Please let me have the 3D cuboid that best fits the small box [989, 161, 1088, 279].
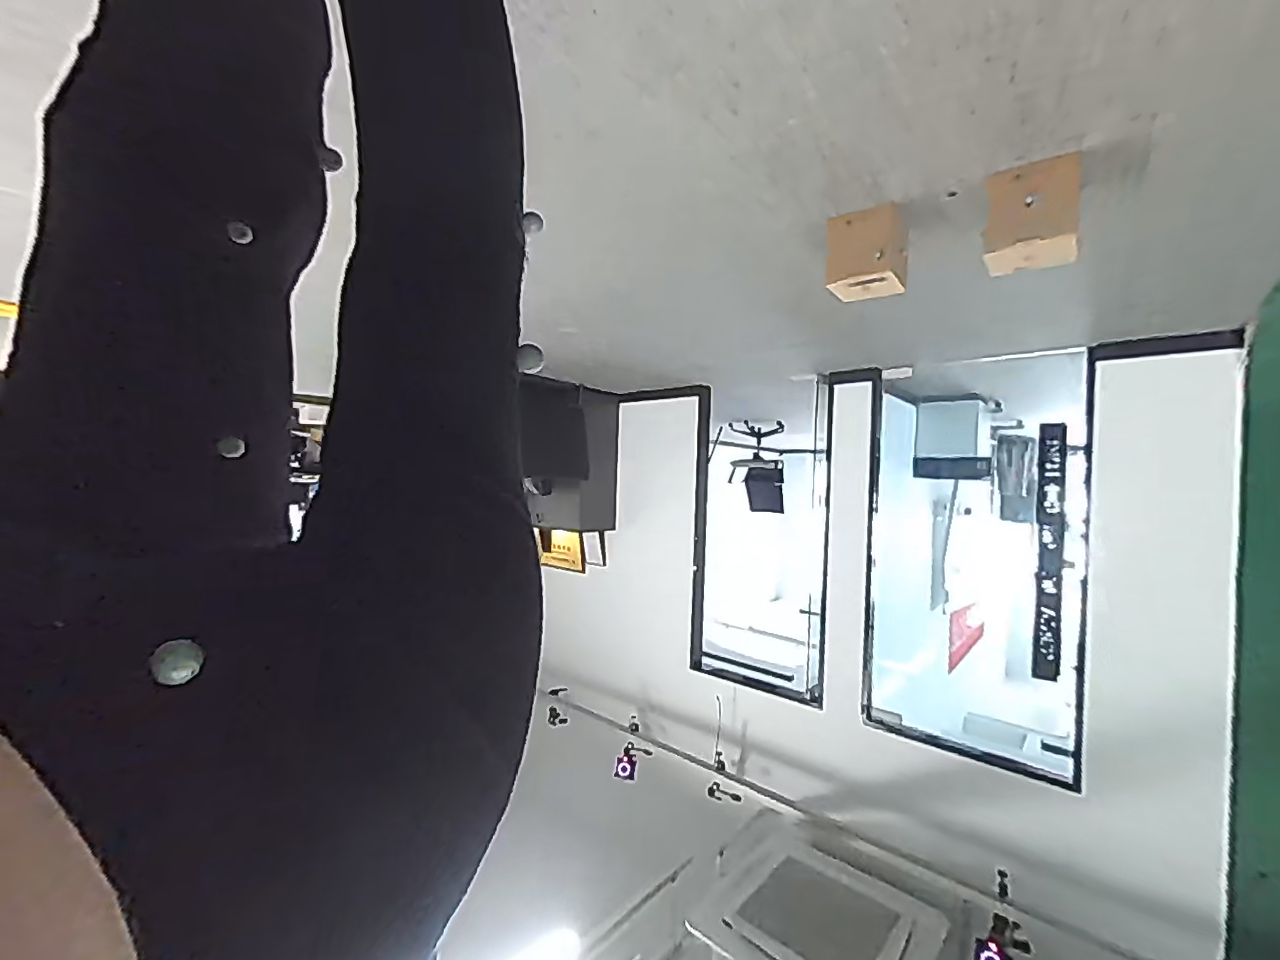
[{"bbox_3d":[0.870,-0.566,1.184,0.168,0.176,0.179,2,180,39],"label":"small box"}]
